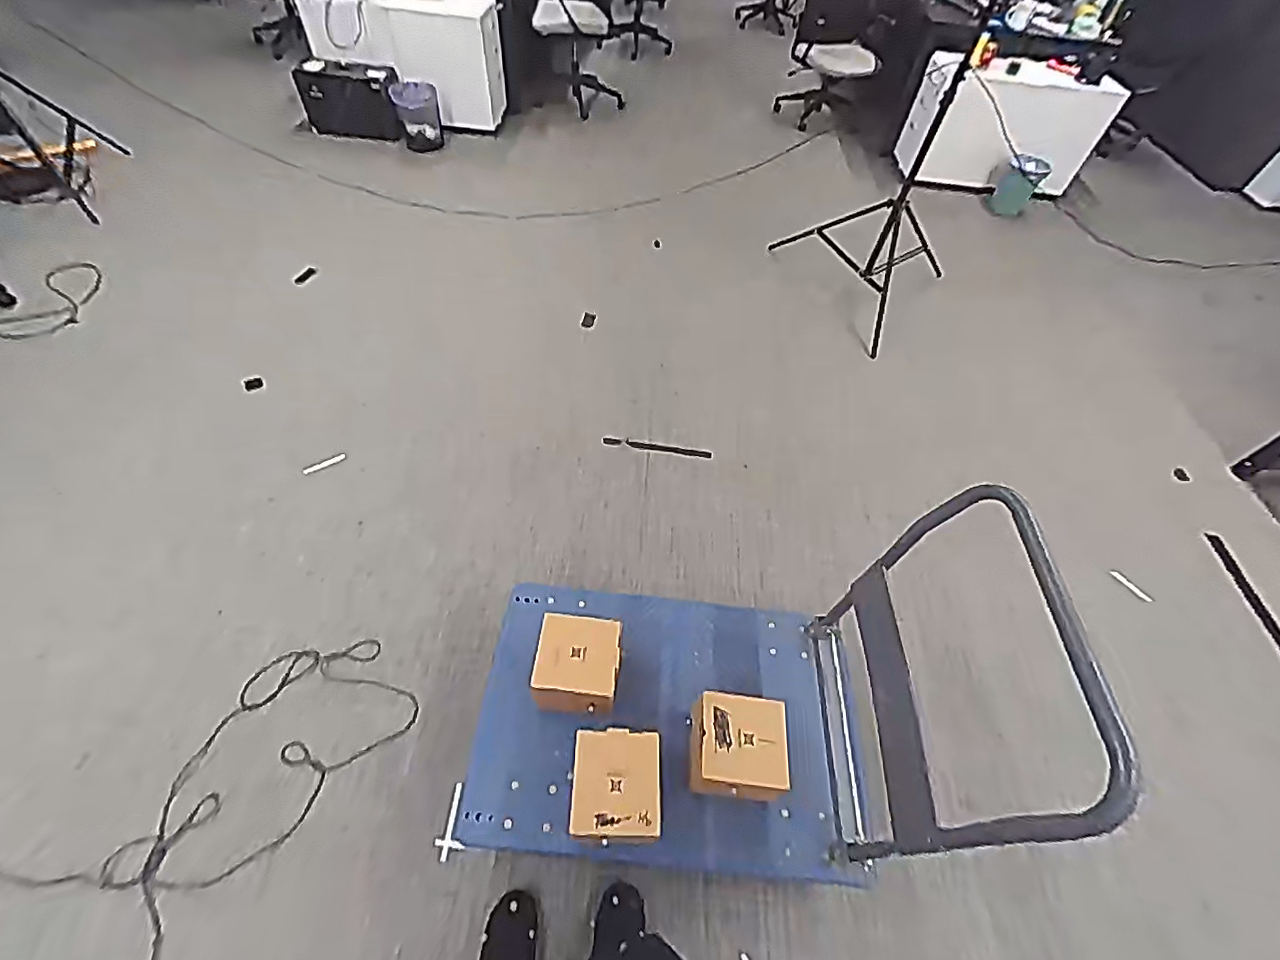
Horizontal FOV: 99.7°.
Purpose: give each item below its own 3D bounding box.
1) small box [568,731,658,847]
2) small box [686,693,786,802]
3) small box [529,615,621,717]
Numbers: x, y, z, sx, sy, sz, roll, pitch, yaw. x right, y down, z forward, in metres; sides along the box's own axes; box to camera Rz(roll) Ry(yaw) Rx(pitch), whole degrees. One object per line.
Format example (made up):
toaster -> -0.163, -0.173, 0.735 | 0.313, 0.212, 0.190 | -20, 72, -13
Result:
small box -> -0.055, 0.621, 1.085 | 0.168, 0.176, 0.179 | 3, 51, -3
small box -> 0.197, 0.572, 1.148 | 0.179, 0.176, 0.168 | 9, 52, -1
small box -> -0.143, 0.425, 1.225 | 0.179, 0.176, 0.168 | 6, 52, -1
